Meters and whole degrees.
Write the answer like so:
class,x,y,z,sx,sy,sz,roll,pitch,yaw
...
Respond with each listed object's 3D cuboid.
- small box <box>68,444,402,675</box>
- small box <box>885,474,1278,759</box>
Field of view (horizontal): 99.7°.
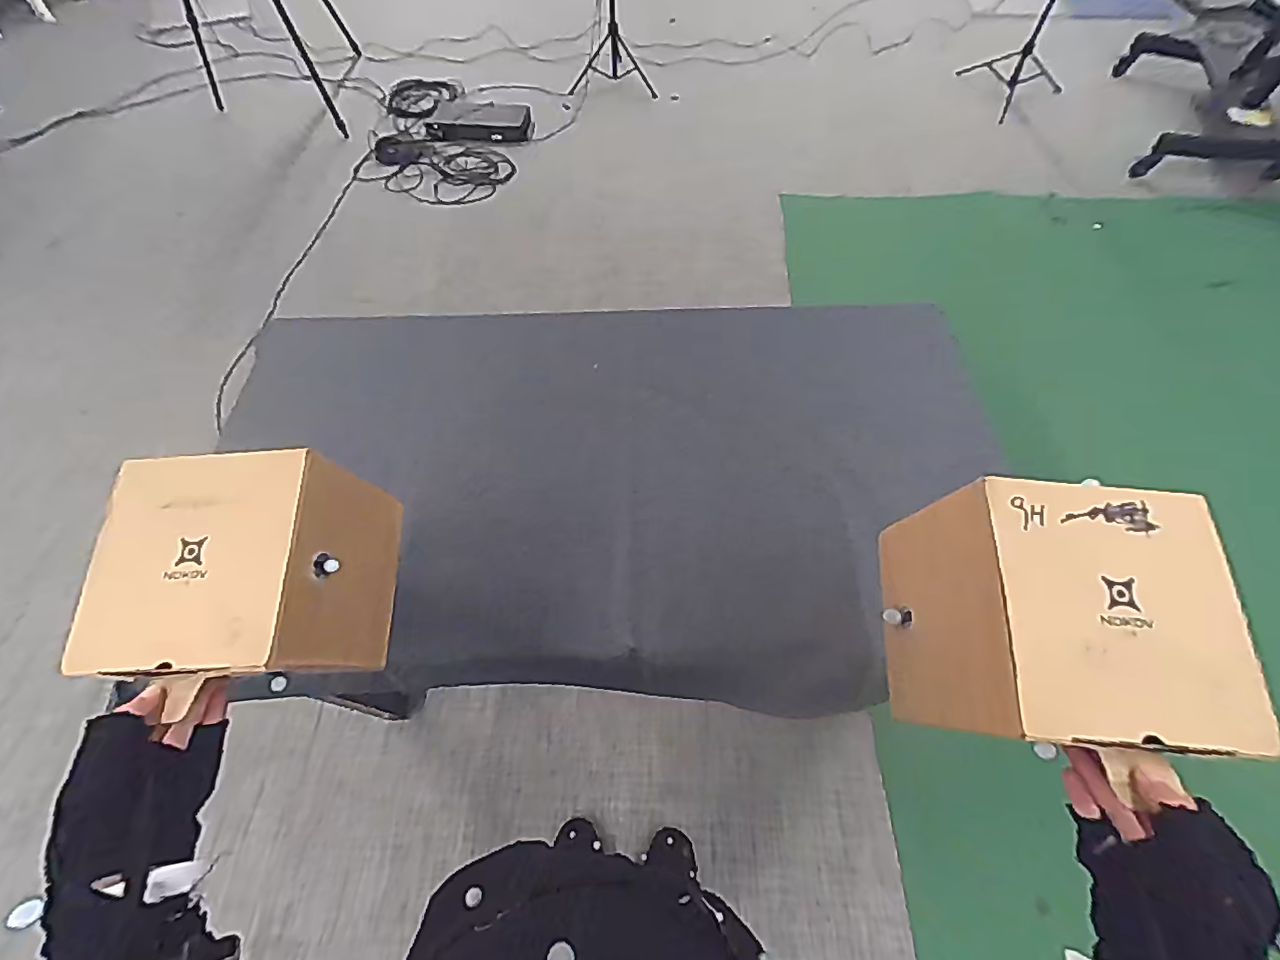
class,x,y,z,sx,sy,sz,roll,pitch,yaw
small box,-0.341,0.082,0.499,0.168,0.176,0.179,-4,70,3
small box,0.319,0.109,0.437,0.168,0.176,0.179,5,72,-1
